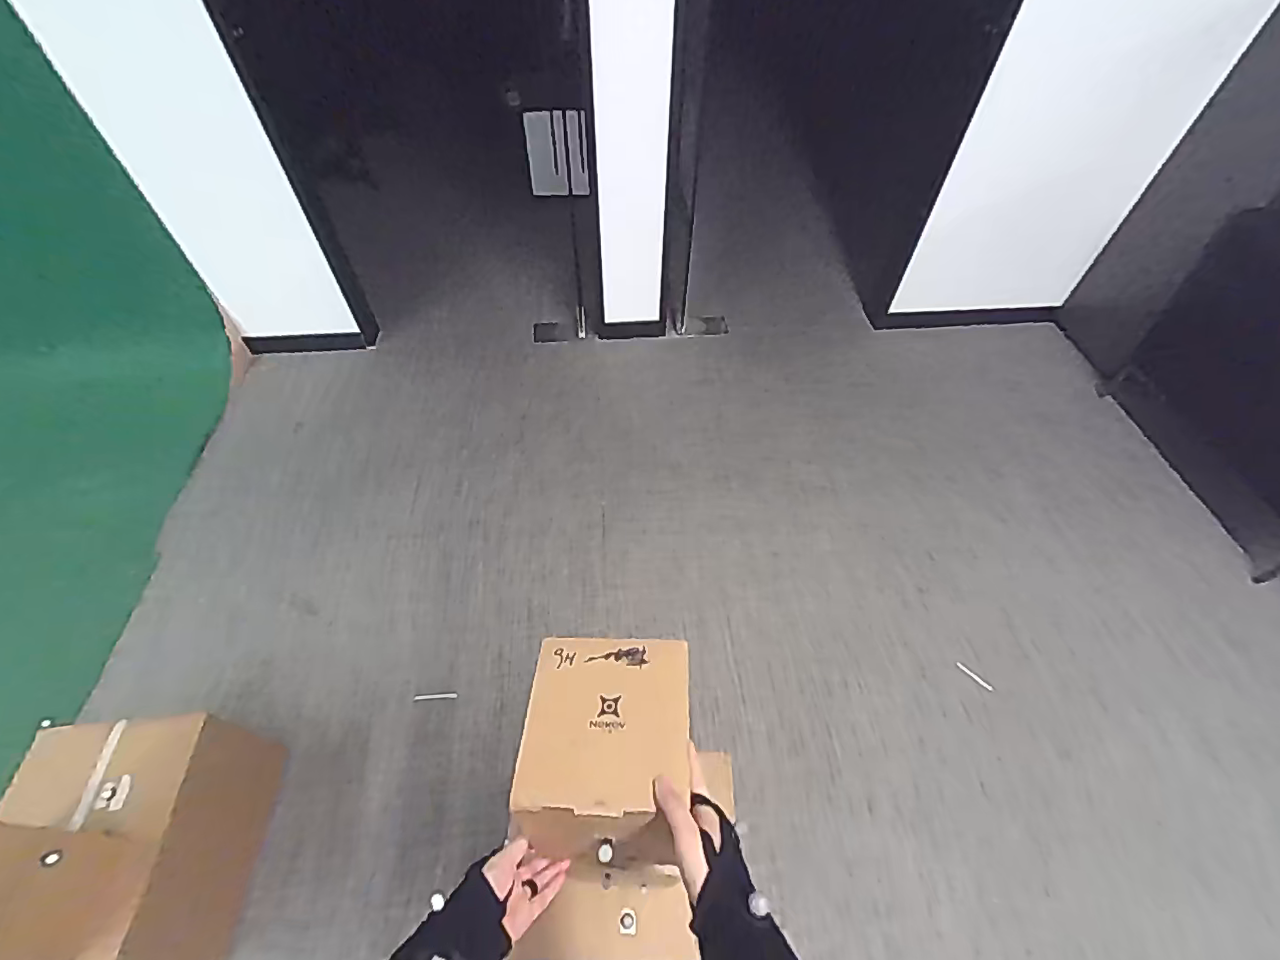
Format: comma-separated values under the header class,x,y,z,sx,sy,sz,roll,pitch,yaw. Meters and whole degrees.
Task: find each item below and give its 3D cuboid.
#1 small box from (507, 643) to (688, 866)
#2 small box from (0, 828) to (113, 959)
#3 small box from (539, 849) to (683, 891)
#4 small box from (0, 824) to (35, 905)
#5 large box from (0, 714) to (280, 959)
class,x,y,z,sx,sy,sz,roll,pitch,yaw
small box,-0.031,0.303,0.597,0.168,0.176,0.179,1,43,4
small box,-0.969,0.640,0.813,0.168,0.176,0.179,-2,50,-3
small box,-0.030,0.466,0.762,0.179,0.176,0.168,4,49,3
small box,-0.958,0.538,0.683,0.168,0.176,0.179,-2,51,-3
large box,-0.992,0.724,1.057,0.320,0.320,0.408,-4,51,-4
